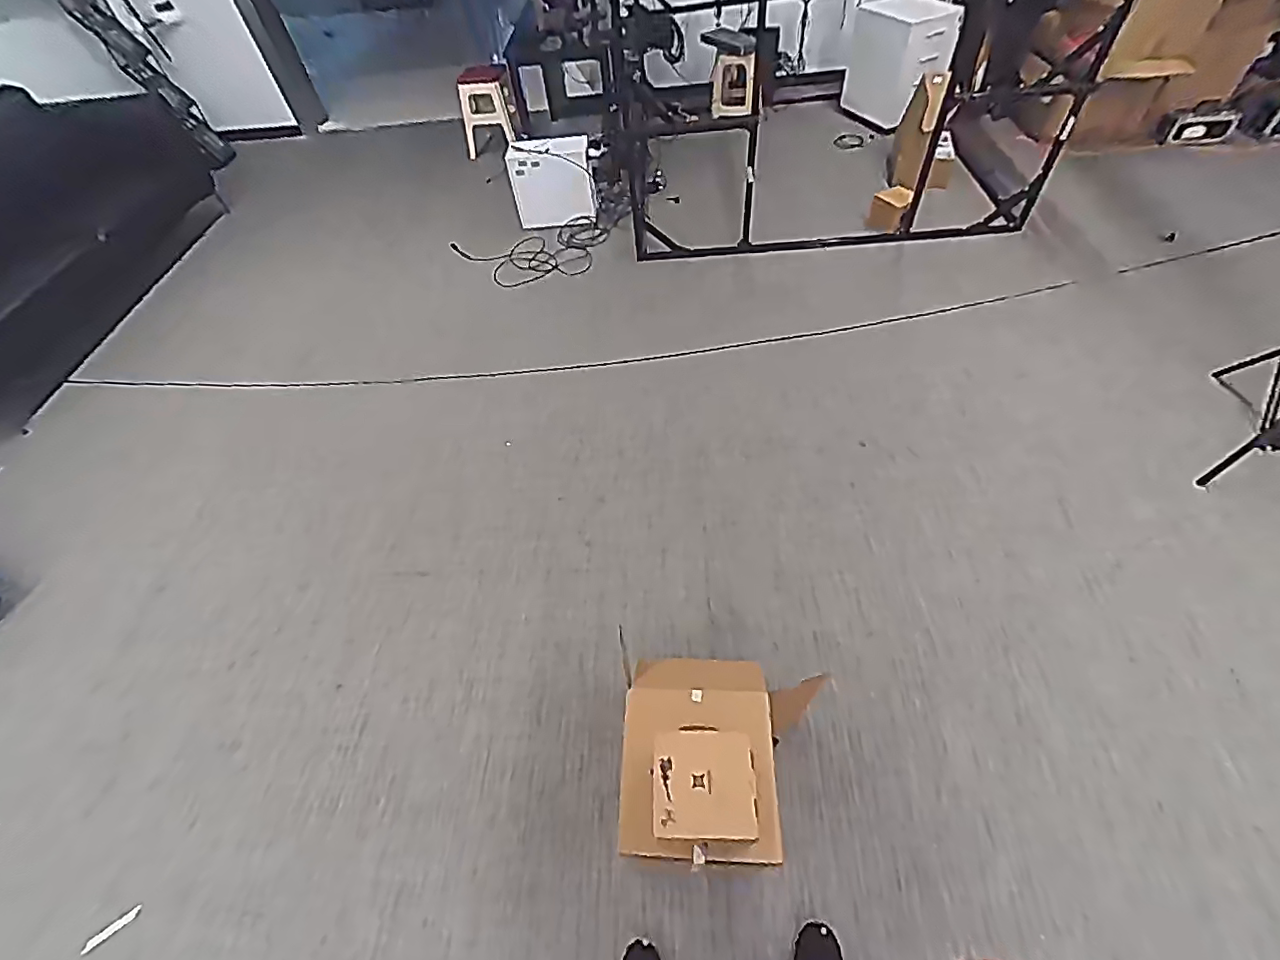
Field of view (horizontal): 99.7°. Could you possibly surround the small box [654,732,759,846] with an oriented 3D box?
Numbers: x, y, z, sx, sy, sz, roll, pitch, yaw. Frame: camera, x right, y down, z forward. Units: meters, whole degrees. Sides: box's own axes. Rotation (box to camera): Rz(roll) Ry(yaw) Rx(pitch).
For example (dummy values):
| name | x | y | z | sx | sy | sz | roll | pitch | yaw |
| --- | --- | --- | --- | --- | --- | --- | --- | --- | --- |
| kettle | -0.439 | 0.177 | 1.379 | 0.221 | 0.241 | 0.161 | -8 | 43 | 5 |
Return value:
| name | x | y | z | sx | sy | sz | roll | pitch | yaw |
| --- | --- | --- | --- | --- | --- | --- | --- | --- | --- |
| small box | 0.119 | 0.576 | 1.005 | 0.179 | 0.176 | 0.168 | -1 | 54 | 5 |
